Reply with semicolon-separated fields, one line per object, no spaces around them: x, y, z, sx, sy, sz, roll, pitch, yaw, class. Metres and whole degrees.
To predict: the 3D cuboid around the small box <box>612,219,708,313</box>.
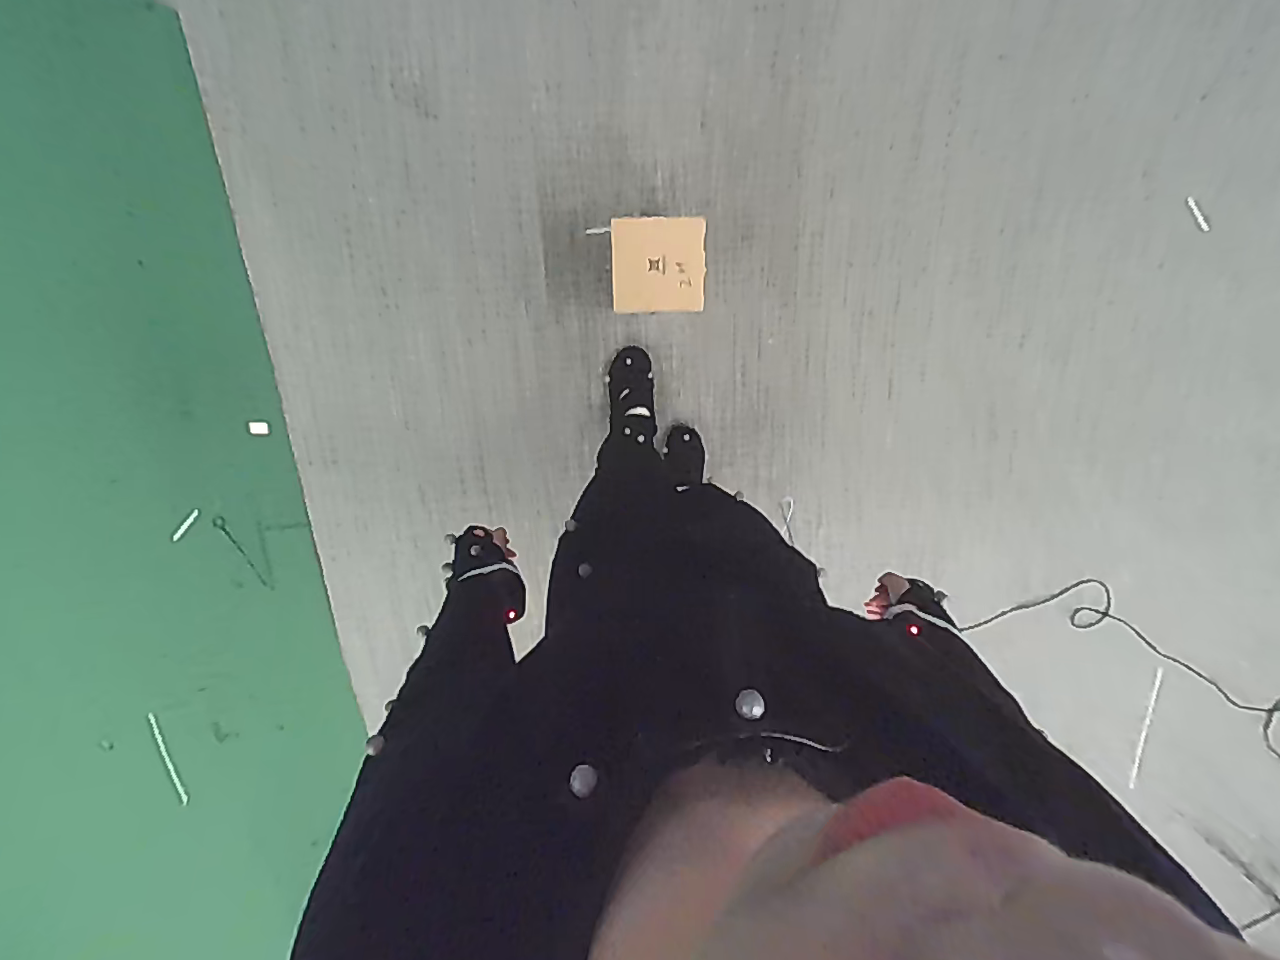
0.039;-0.423;1.086;0.179;0.176;0.168;-1;108;0;small box
